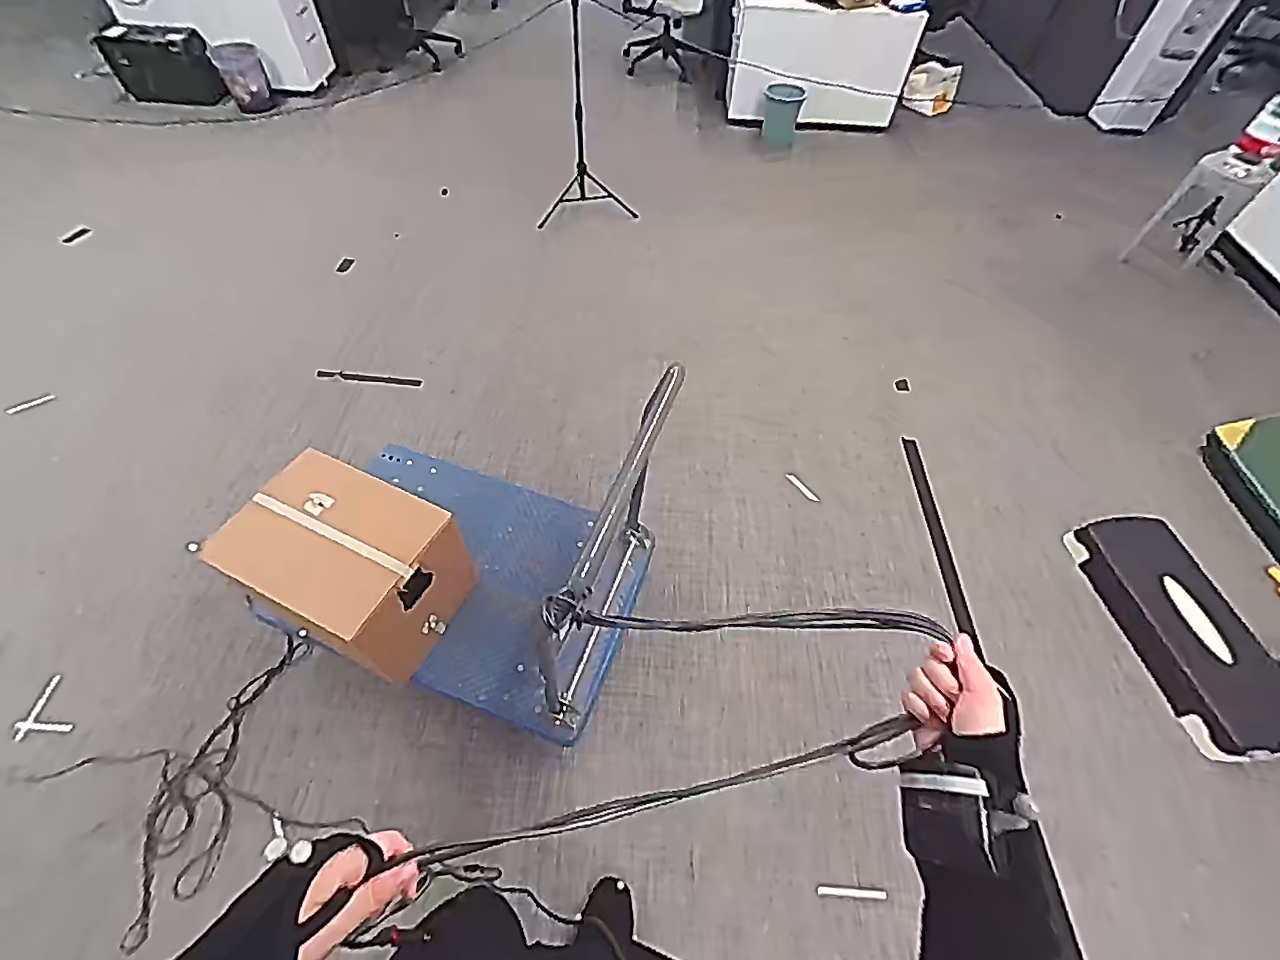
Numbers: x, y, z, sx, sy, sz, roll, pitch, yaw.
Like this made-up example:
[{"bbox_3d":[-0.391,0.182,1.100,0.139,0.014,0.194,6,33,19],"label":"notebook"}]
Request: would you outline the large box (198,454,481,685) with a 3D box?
[{"bbox_3d":[-0.639,0.207,1.228,0.408,0.320,0.320,22,55,14],"label":"large box"}]
